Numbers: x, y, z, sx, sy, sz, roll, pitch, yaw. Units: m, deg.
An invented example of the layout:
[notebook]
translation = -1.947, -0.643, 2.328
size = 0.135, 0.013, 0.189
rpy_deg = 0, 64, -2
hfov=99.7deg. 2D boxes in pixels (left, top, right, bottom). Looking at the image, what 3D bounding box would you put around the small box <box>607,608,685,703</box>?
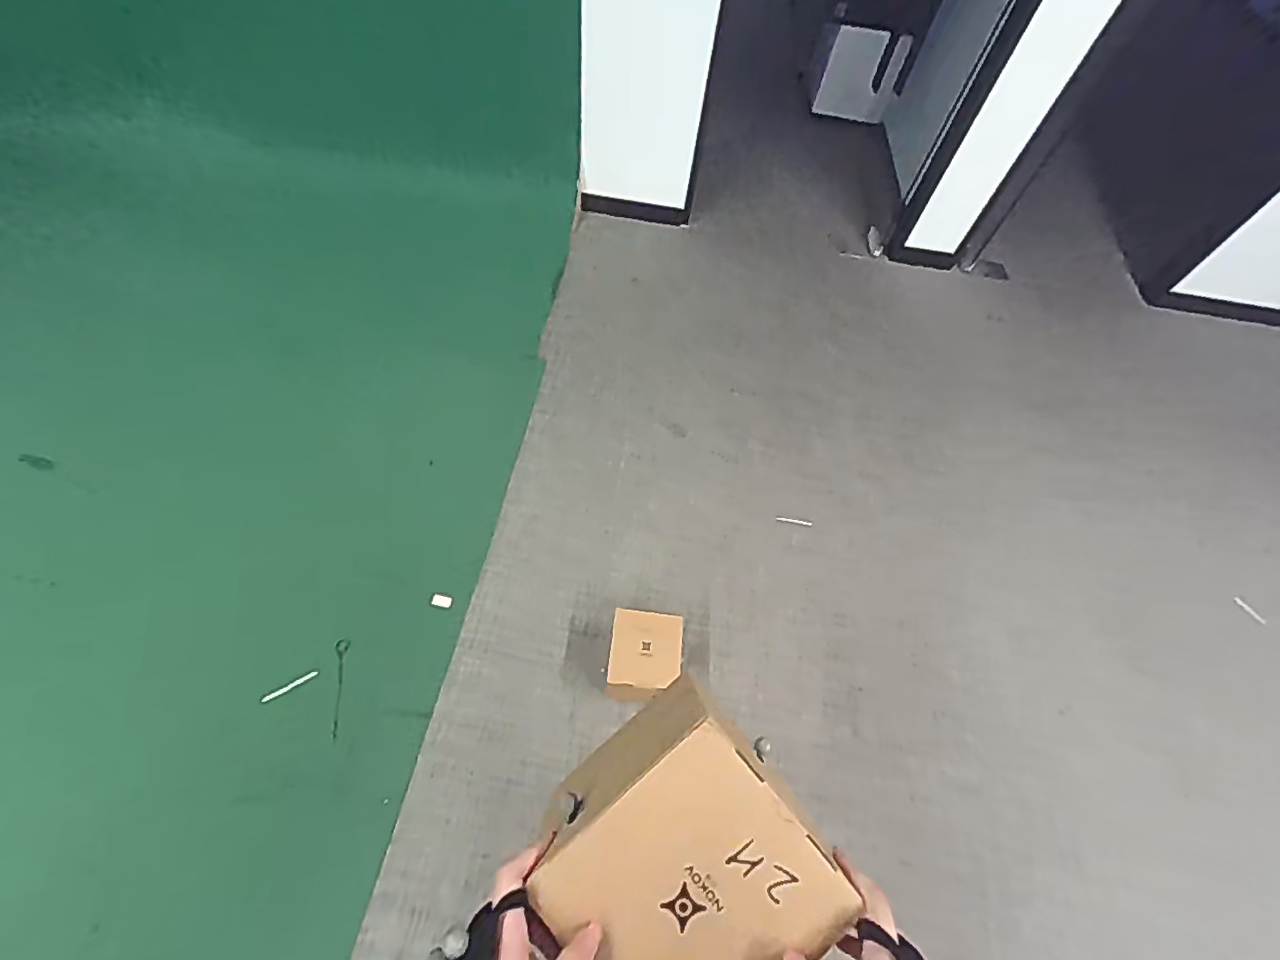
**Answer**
[small box]
translation = 0.012, 0.434, 1.321
size = 0.168, 0.176, 0.179
rpy_deg = 9, 57, -2
